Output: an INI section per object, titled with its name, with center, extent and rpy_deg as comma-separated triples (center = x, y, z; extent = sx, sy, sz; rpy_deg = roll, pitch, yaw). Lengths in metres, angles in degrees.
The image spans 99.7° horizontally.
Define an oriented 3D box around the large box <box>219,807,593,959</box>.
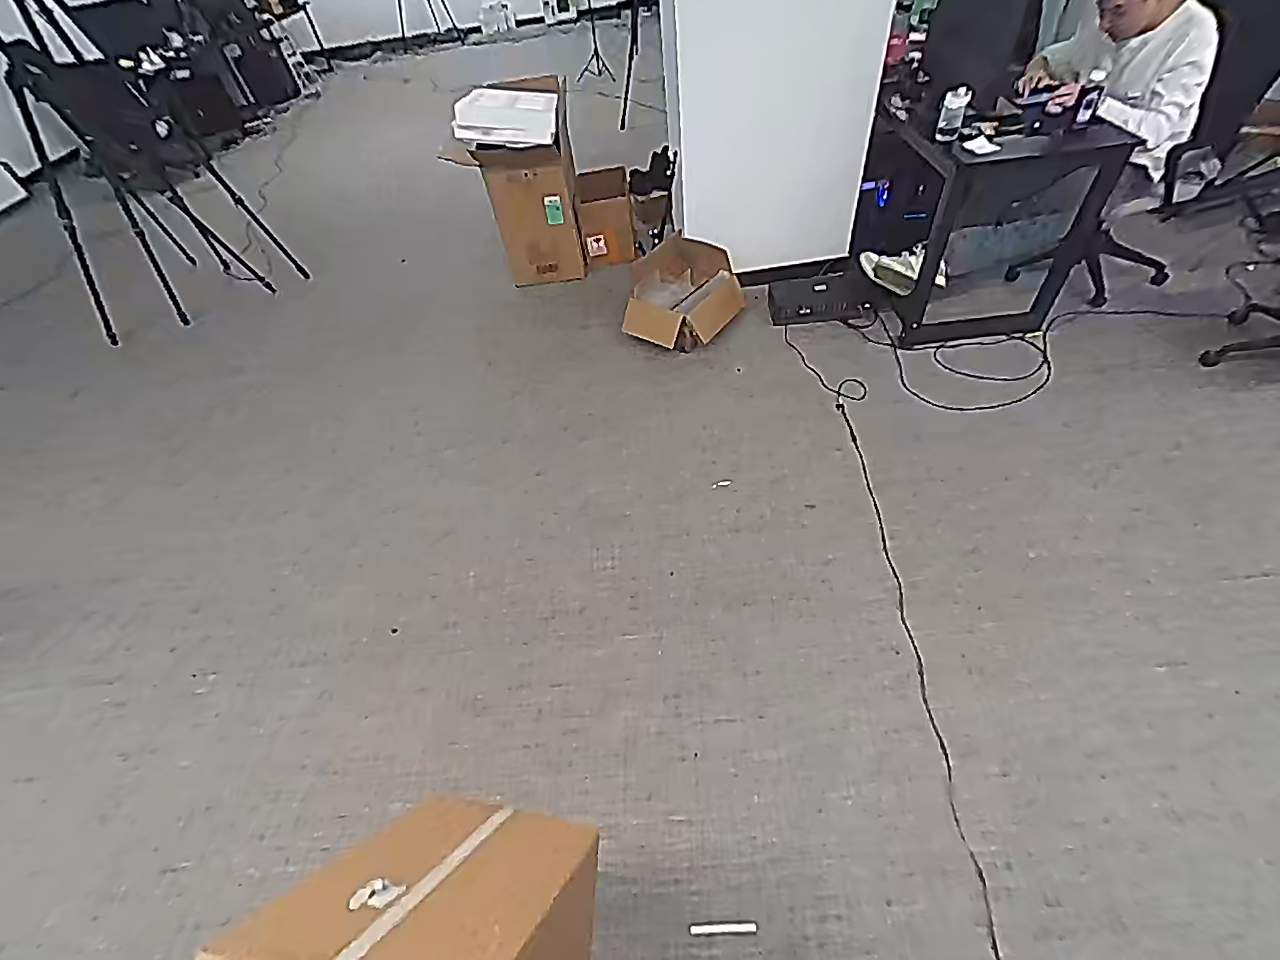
[large box]
center = -0.279, 0.699, 0.699
extent = 0.320, 0.408, 0.320
rpy_deg = 1, 82, 15
